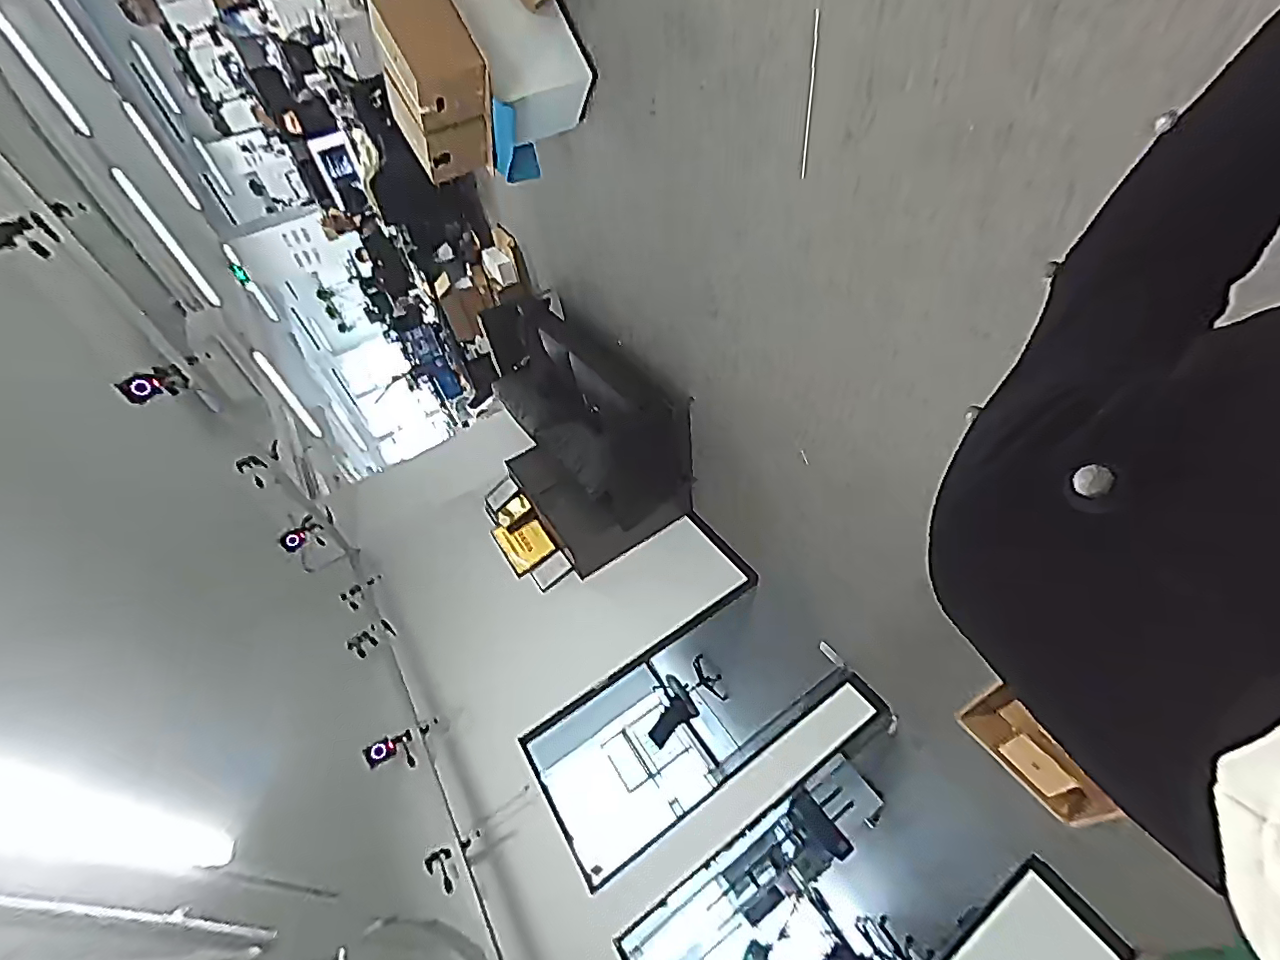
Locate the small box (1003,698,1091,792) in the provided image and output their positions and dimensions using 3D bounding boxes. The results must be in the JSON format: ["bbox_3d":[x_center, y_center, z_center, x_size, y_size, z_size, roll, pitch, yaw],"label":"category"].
[{"bbox_3d":[1.244,0.789,1.613,0.168,0.176,0.179,48,158,35],"label":"small box"}]
